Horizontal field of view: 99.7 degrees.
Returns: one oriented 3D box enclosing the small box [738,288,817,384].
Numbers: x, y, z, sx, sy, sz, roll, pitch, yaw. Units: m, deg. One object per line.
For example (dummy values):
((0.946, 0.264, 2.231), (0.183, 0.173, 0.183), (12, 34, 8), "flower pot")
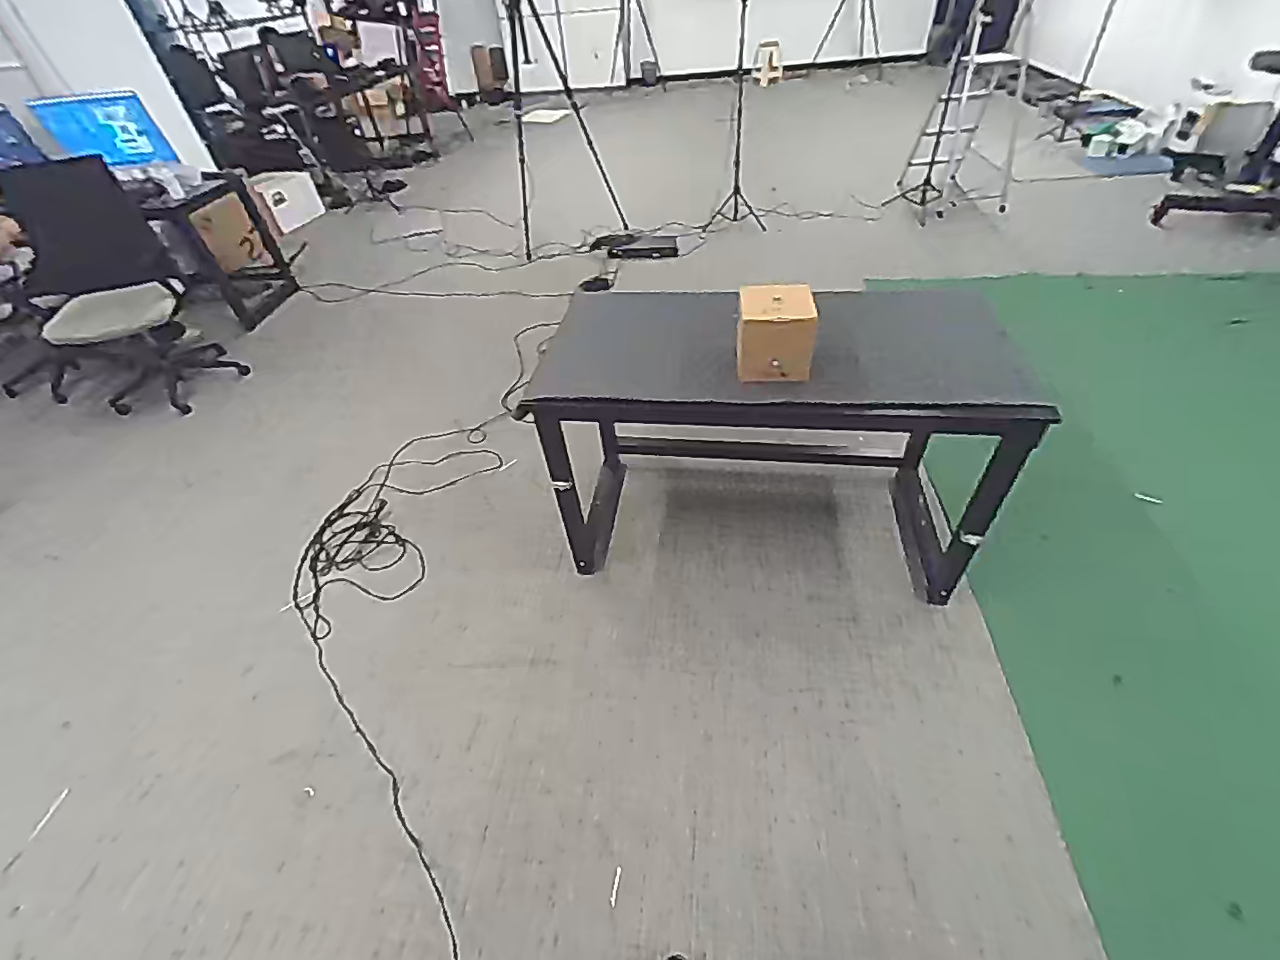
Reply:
((0.328, -0.351, 1.320), (0.168, 0.176, 0.179), (0, 43, 8), "small box")
